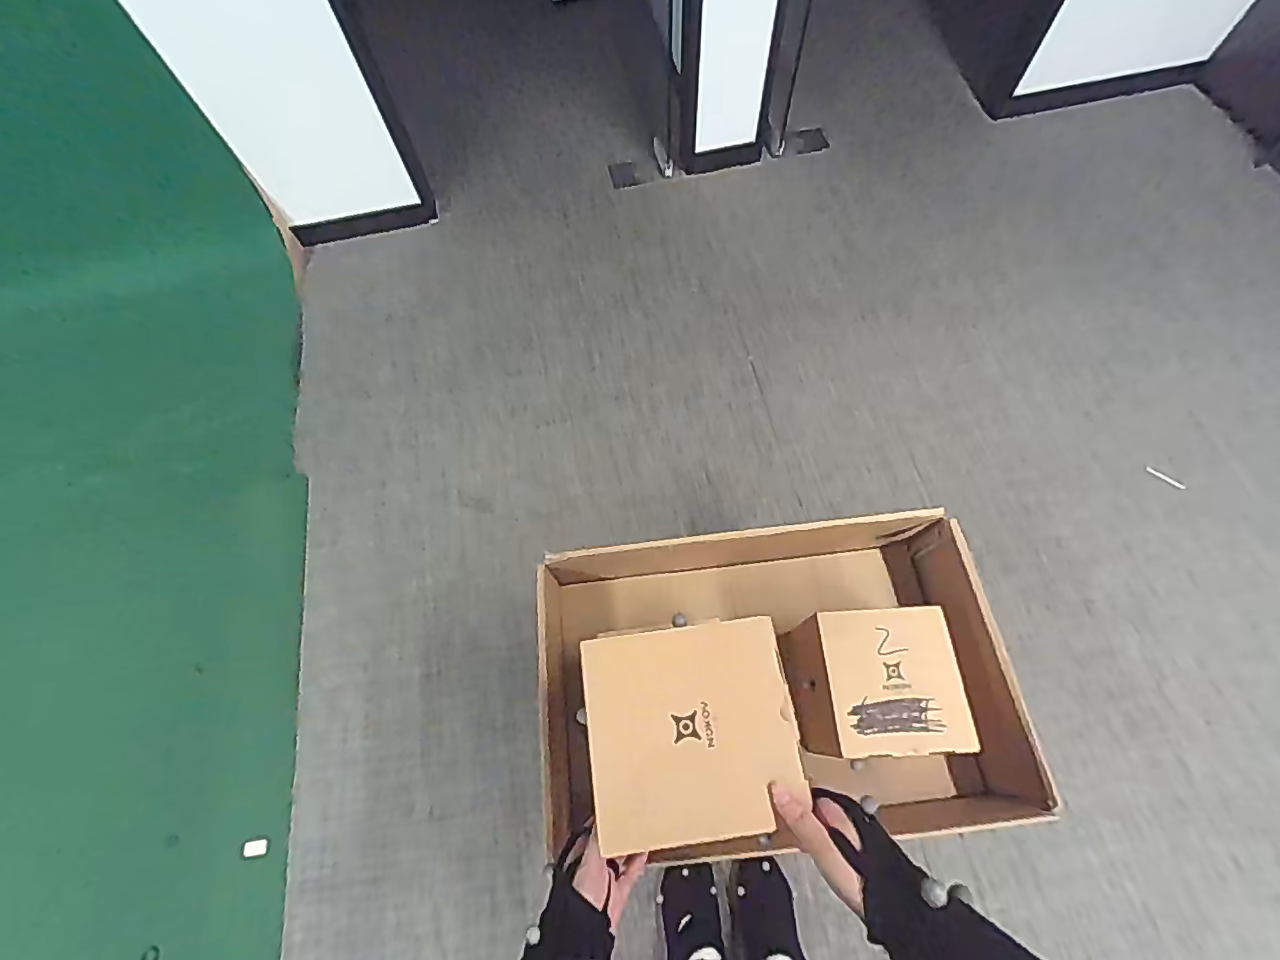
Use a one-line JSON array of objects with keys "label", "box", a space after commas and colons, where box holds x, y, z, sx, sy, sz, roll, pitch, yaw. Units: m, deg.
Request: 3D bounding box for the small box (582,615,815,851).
[{"label": "small box", "box": [0.043, 0.237, 0.525, 0.179, 0.176, 0.168, -6, 66, -4]}]
